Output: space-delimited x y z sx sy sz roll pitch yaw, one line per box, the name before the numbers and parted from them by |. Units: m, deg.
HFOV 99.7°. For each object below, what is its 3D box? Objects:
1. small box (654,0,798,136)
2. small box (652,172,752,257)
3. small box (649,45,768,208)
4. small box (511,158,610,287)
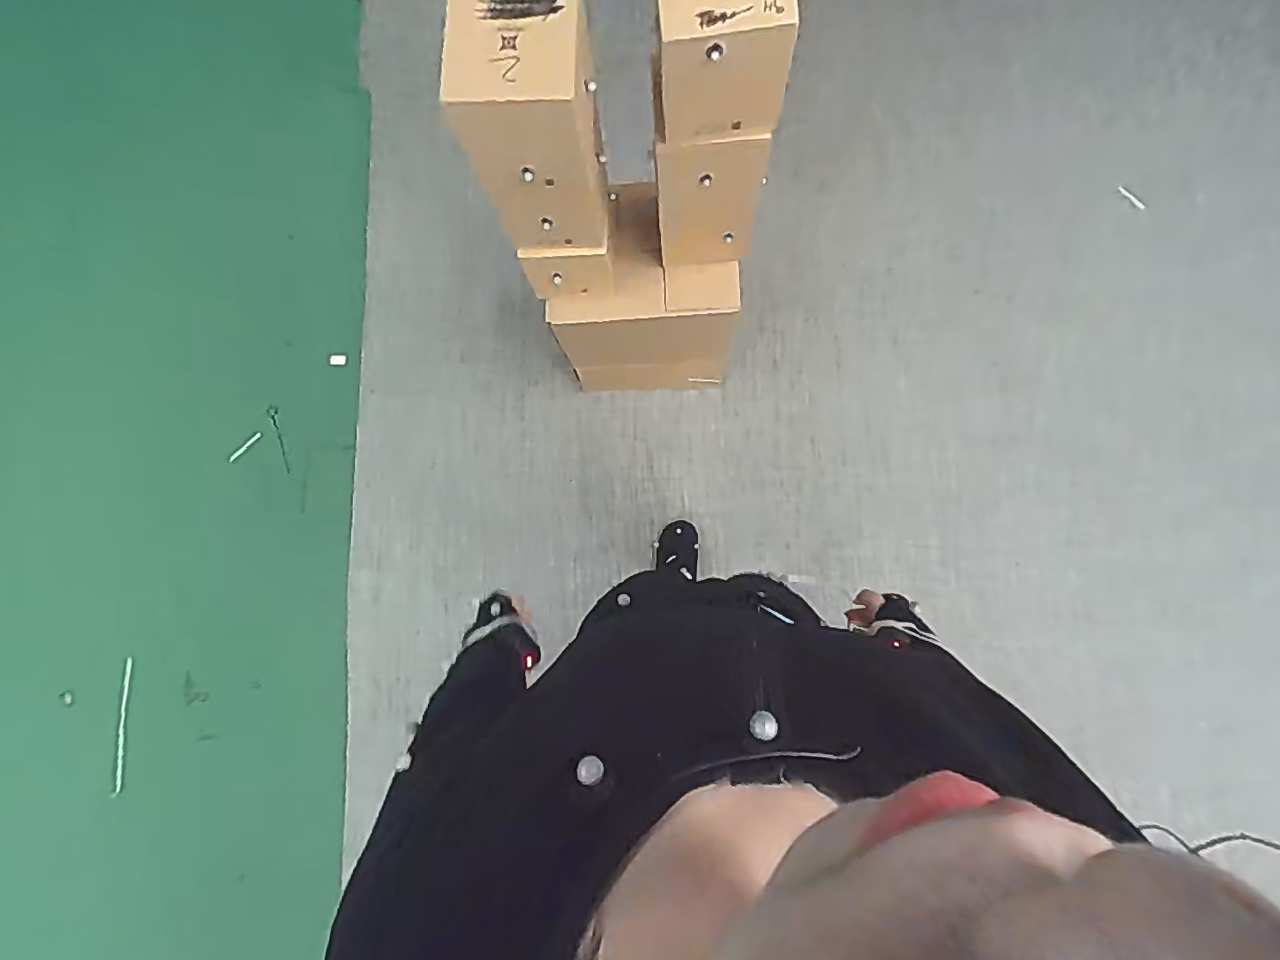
small box | 0.104 -0.610 0.730 0.168 0.176 0.179 -4 82 3
small box | 0.114 -0.556 1.054 0.179 0.176 0.168 -3 82 4
small box | 0.107 -0.576 0.891 0.179 0.176 0.168 -2 82 4
small box | -0.148 -0.491 1.057 0.168 0.176 0.179 -1 83 2
